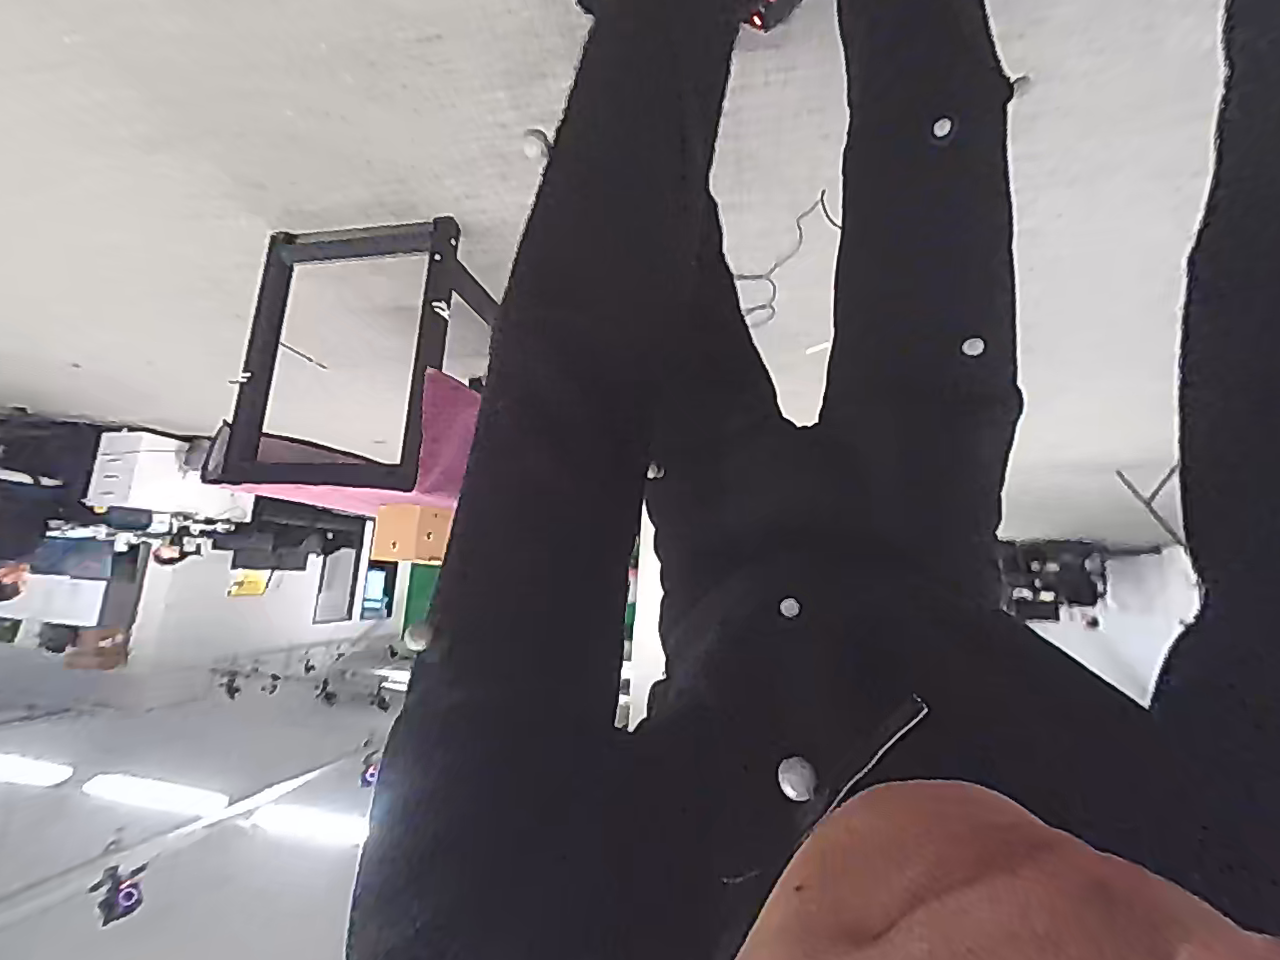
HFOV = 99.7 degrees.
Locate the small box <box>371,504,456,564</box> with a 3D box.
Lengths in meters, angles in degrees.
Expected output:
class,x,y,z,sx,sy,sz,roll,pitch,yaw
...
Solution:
class,x,y,z,sx,sy,sz,roll,pitch,yaw
small box,-0.681,0.165,1.644,0.179,0.176,0.168,-1,168,24
